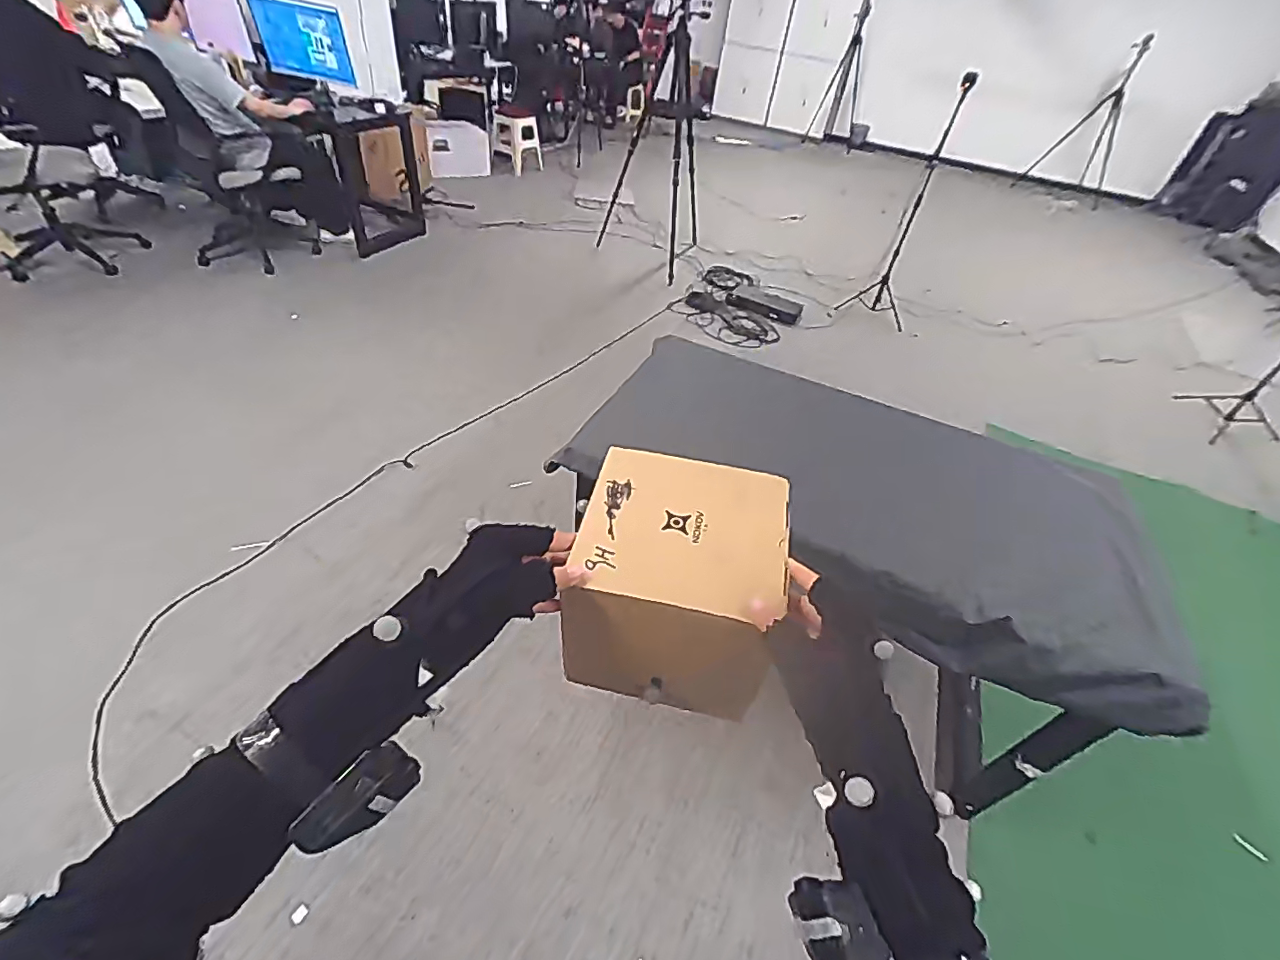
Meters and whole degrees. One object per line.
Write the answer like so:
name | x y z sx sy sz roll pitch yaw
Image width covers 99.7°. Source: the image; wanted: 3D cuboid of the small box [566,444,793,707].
small box | 0.036 0.094 0.521 0.179 0.176 0.168 12 43 5
